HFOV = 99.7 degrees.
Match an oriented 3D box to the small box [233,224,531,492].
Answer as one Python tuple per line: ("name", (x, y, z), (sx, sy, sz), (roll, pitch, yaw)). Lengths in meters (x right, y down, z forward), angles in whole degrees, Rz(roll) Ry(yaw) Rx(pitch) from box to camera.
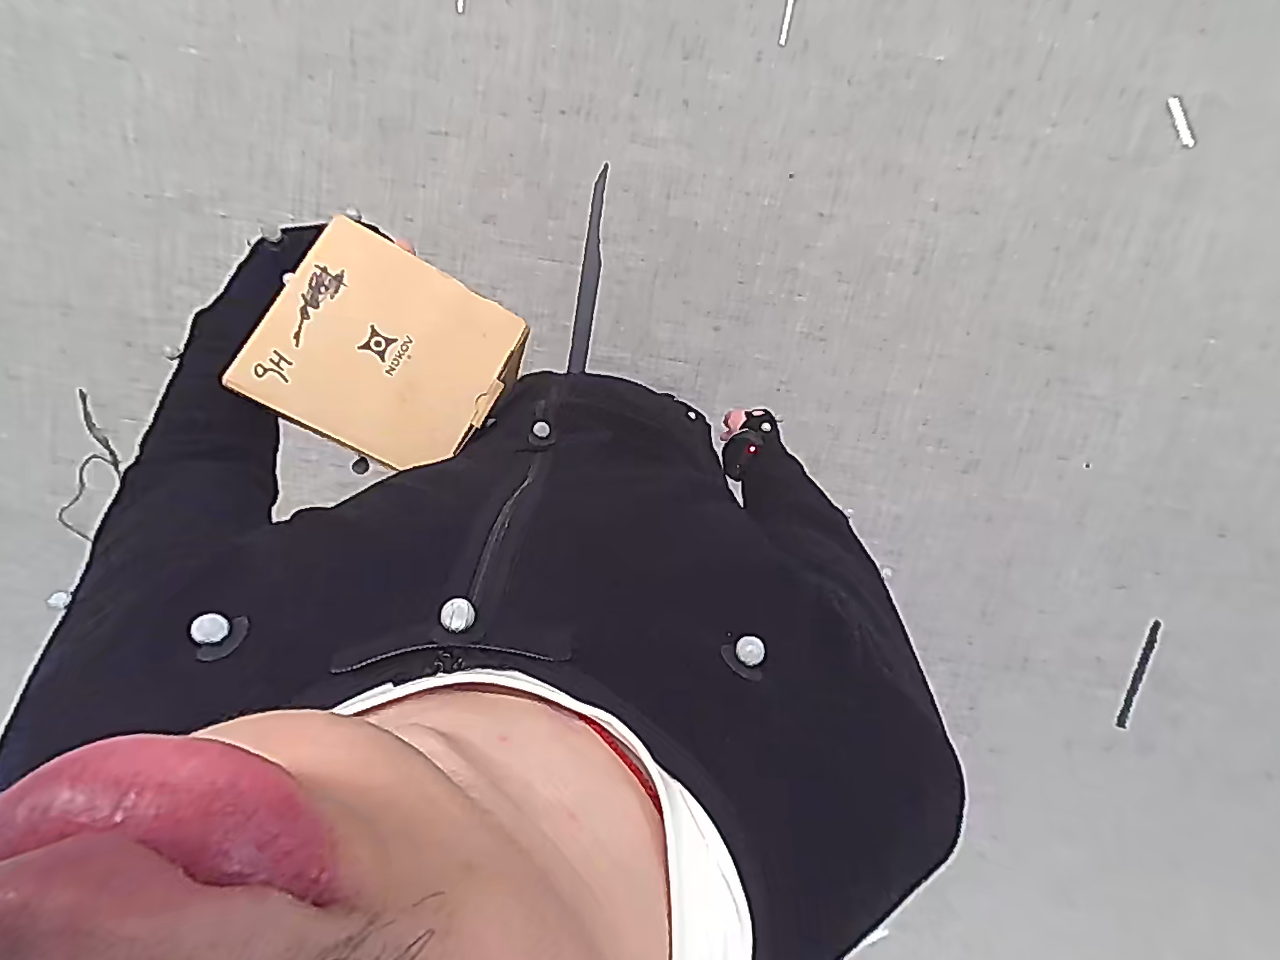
("small box", (-0.228, -0.096, 0.524), (0.179, 0.176, 0.168), (29, 77, -13))
